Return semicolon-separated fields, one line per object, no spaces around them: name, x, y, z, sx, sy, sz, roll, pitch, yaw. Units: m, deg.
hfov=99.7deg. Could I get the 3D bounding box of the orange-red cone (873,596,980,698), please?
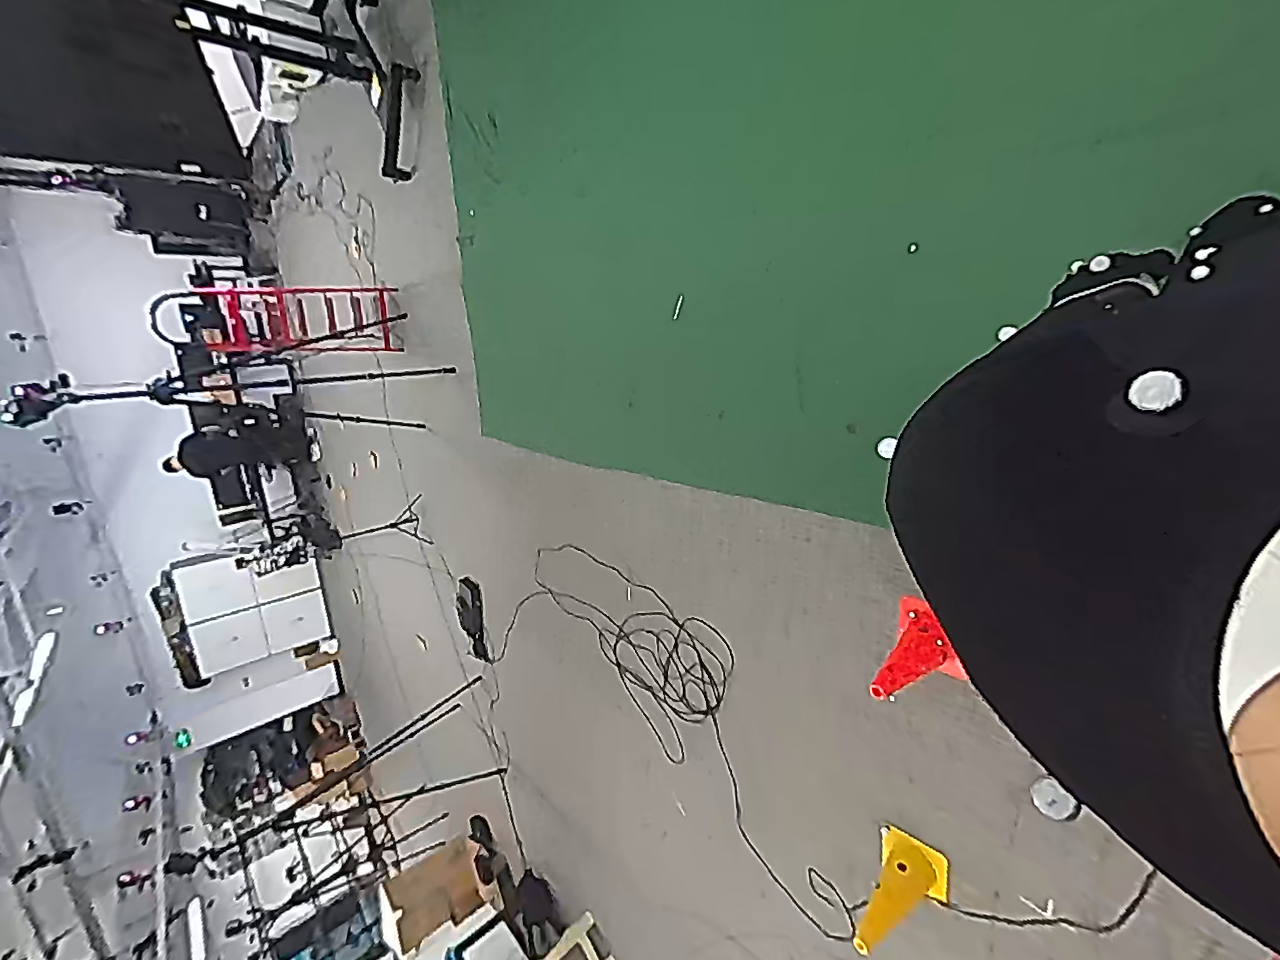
orange-red cone;0.717;0.478;1.424;0.198;0.360;0.199;14;113;48
